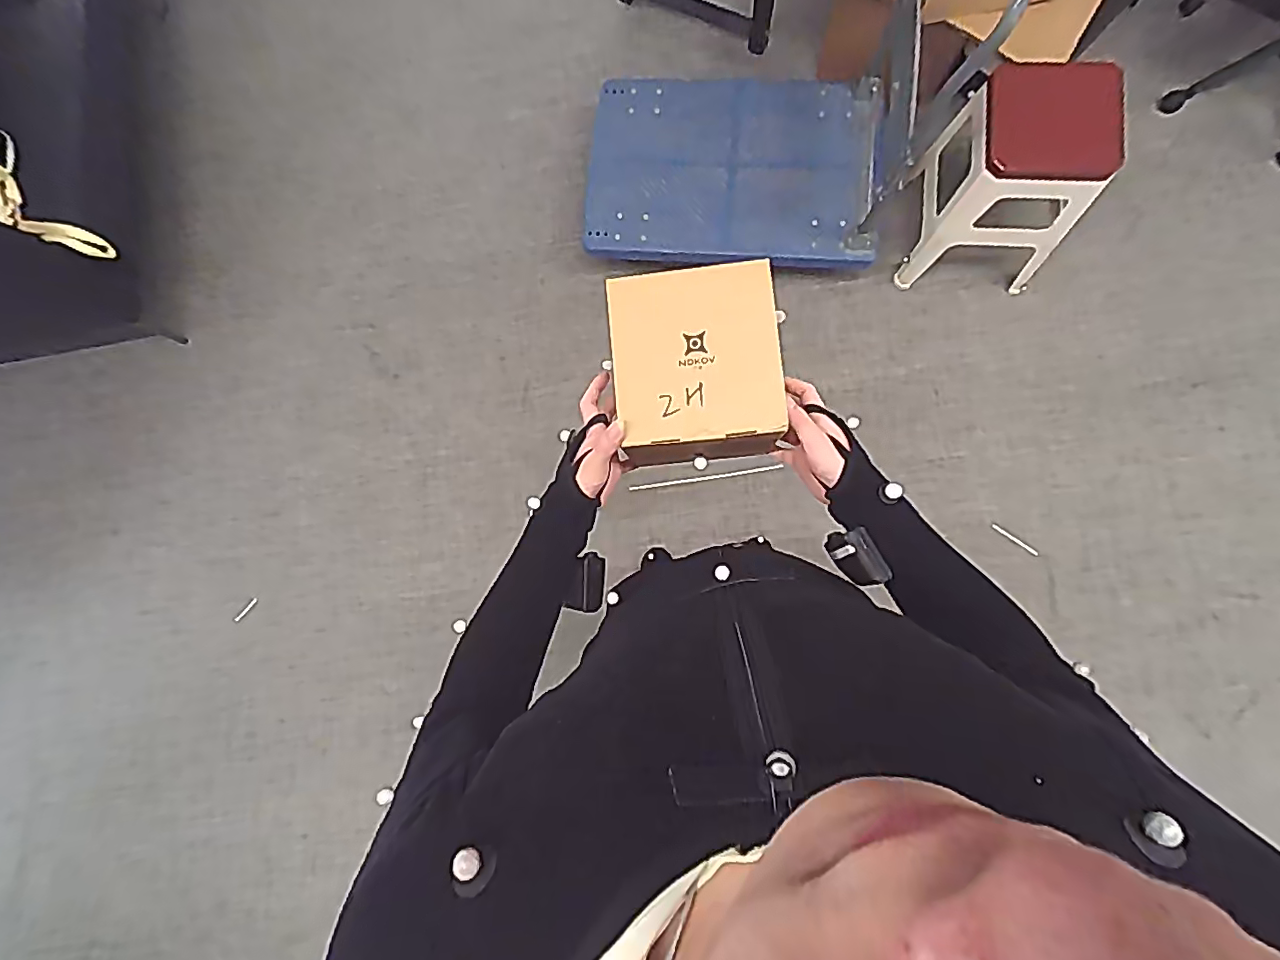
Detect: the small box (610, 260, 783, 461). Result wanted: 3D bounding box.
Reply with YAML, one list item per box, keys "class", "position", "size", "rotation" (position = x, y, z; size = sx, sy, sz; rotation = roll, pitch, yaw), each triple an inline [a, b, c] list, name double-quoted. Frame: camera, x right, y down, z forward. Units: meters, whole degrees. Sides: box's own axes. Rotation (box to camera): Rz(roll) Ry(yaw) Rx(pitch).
- class: "small box"
  position: [0.060, -0.123, 0.619]
  size: [0.168, 0.176, 0.179]
  rotation: [-5, 85, 5]
